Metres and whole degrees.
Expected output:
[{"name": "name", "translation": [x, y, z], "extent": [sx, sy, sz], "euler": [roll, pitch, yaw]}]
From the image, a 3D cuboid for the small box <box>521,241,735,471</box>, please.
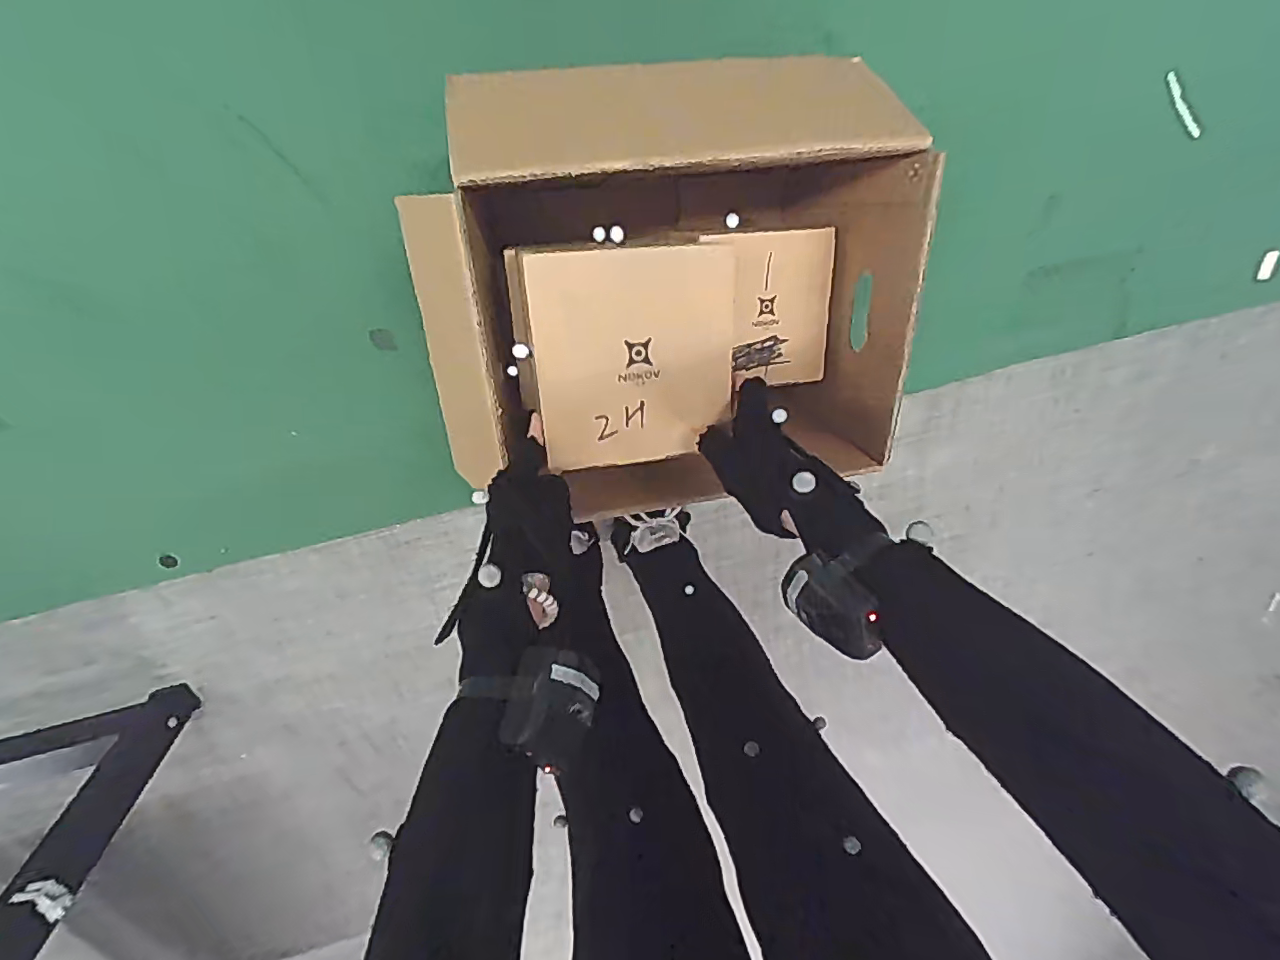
[{"name": "small box", "translation": [-0.020, -0.126, 0.511], "extent": [0.168, 0.176, 0.179], "euler": [-7, 115, -10]}]
